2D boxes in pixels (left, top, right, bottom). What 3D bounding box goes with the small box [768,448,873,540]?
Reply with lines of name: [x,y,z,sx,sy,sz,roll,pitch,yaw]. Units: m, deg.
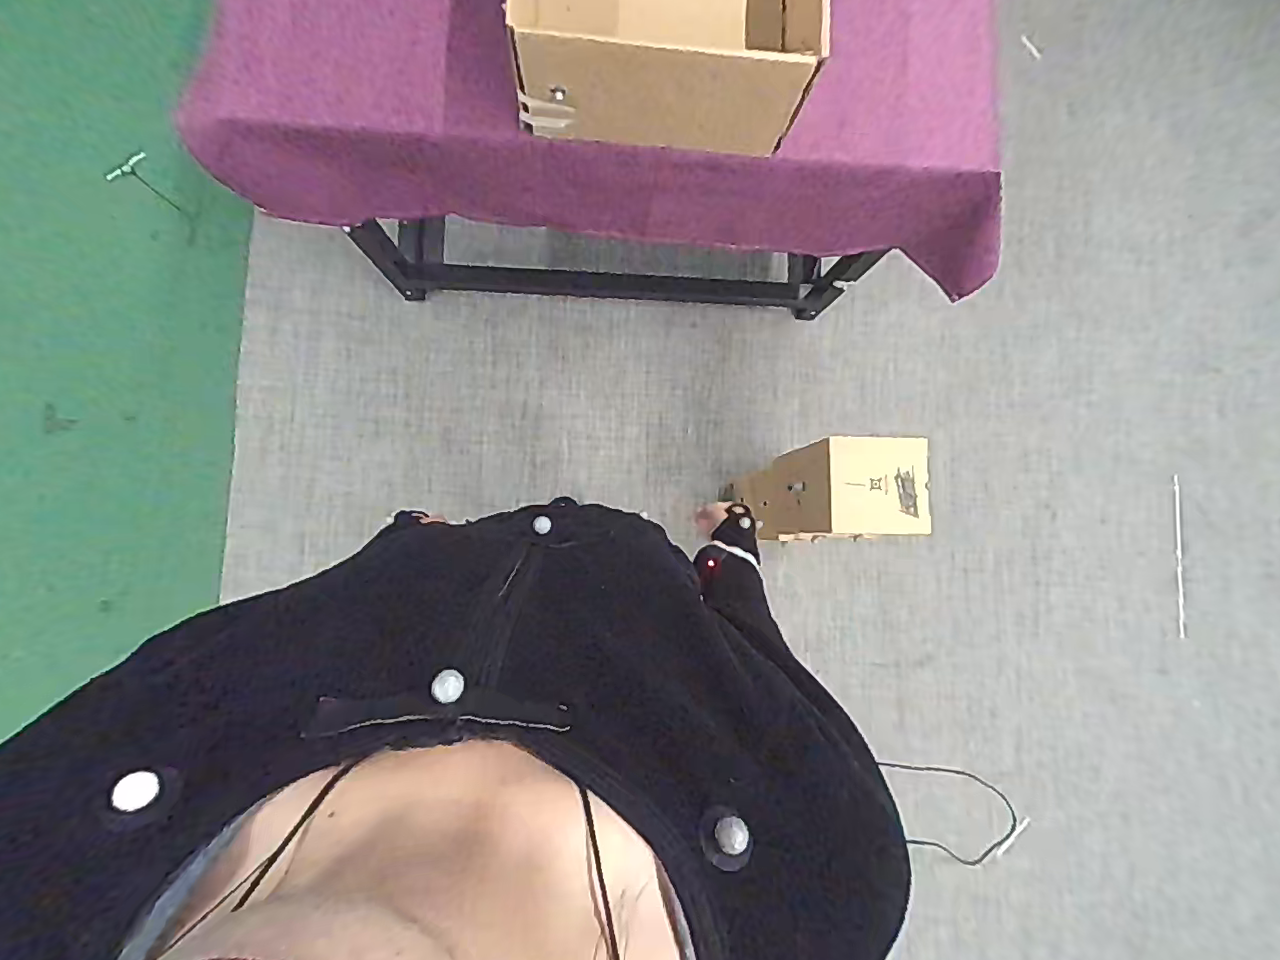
small box: [0.379,0.036,1.154,0.168,0.176,0.179,3,85,-4]

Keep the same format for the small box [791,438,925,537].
small box: [0.391,0.019,0.991,0.179,0.176,0.168,1,84,-4]
